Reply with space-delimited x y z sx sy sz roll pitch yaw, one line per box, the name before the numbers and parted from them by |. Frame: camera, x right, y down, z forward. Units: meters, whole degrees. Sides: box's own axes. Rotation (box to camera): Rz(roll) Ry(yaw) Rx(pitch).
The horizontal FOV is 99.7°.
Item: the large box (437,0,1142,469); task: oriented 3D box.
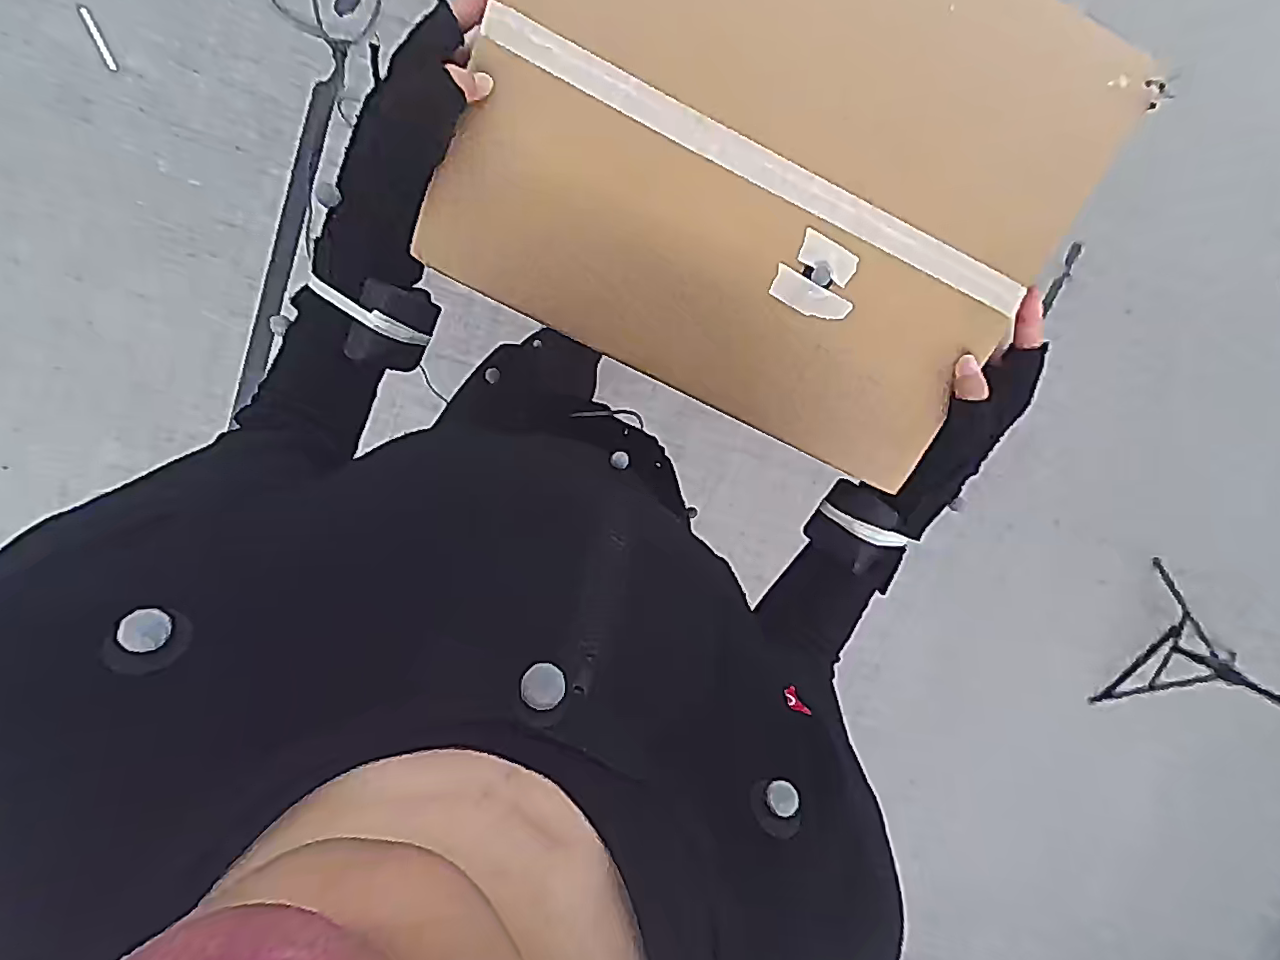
large box | 0.093 -0.261 0.520 0.408 0.320 0.320 26 107 -6
